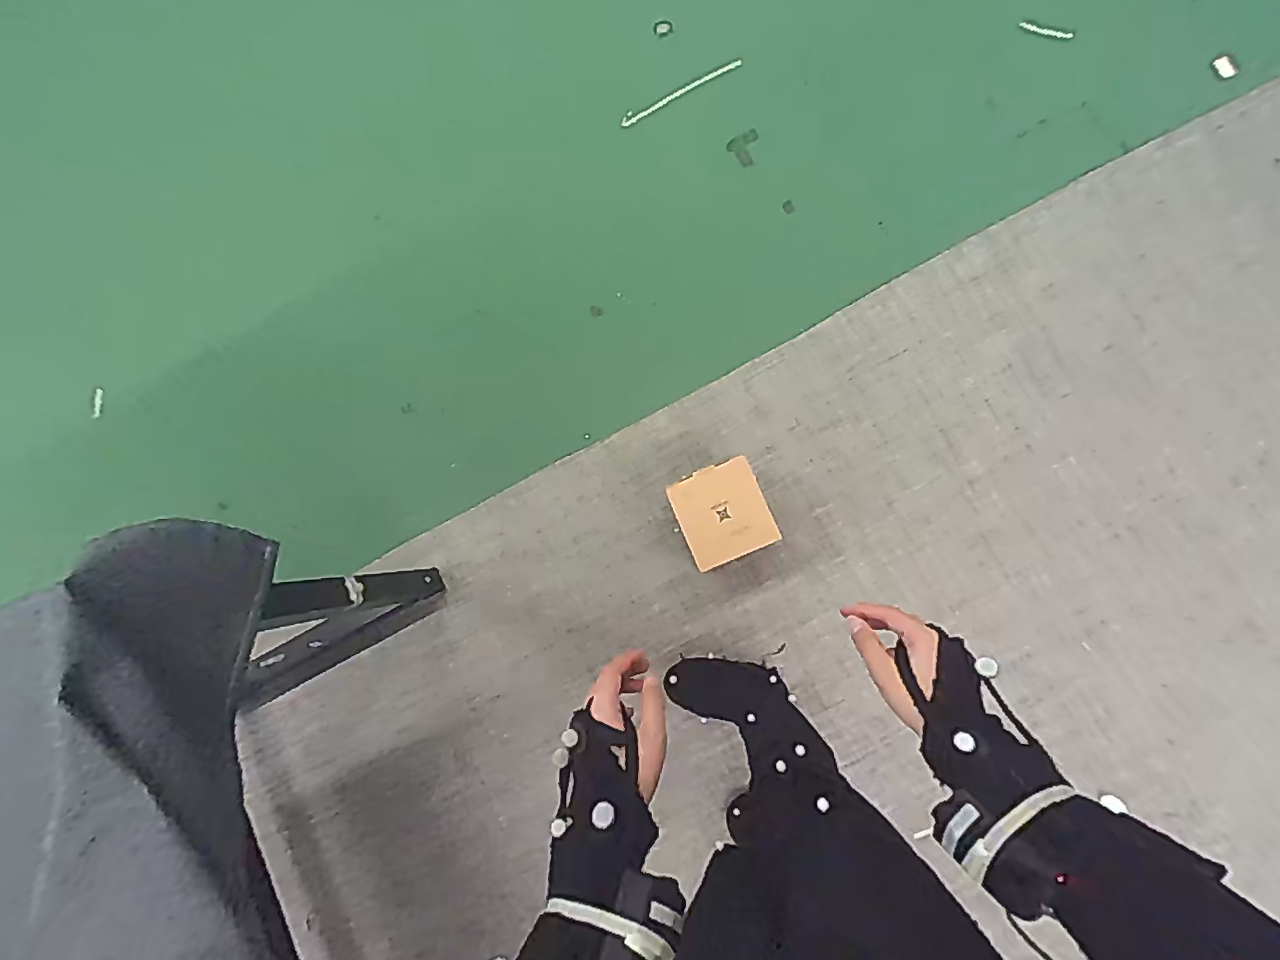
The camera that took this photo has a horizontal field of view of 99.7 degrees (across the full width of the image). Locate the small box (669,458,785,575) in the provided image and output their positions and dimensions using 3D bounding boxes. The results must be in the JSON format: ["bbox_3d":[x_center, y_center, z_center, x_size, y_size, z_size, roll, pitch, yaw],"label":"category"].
[{"bbox_3d":[0.166,0.078,1.080,0.168,0.176,0.179,-24,82,3],"label":"small box"}]
